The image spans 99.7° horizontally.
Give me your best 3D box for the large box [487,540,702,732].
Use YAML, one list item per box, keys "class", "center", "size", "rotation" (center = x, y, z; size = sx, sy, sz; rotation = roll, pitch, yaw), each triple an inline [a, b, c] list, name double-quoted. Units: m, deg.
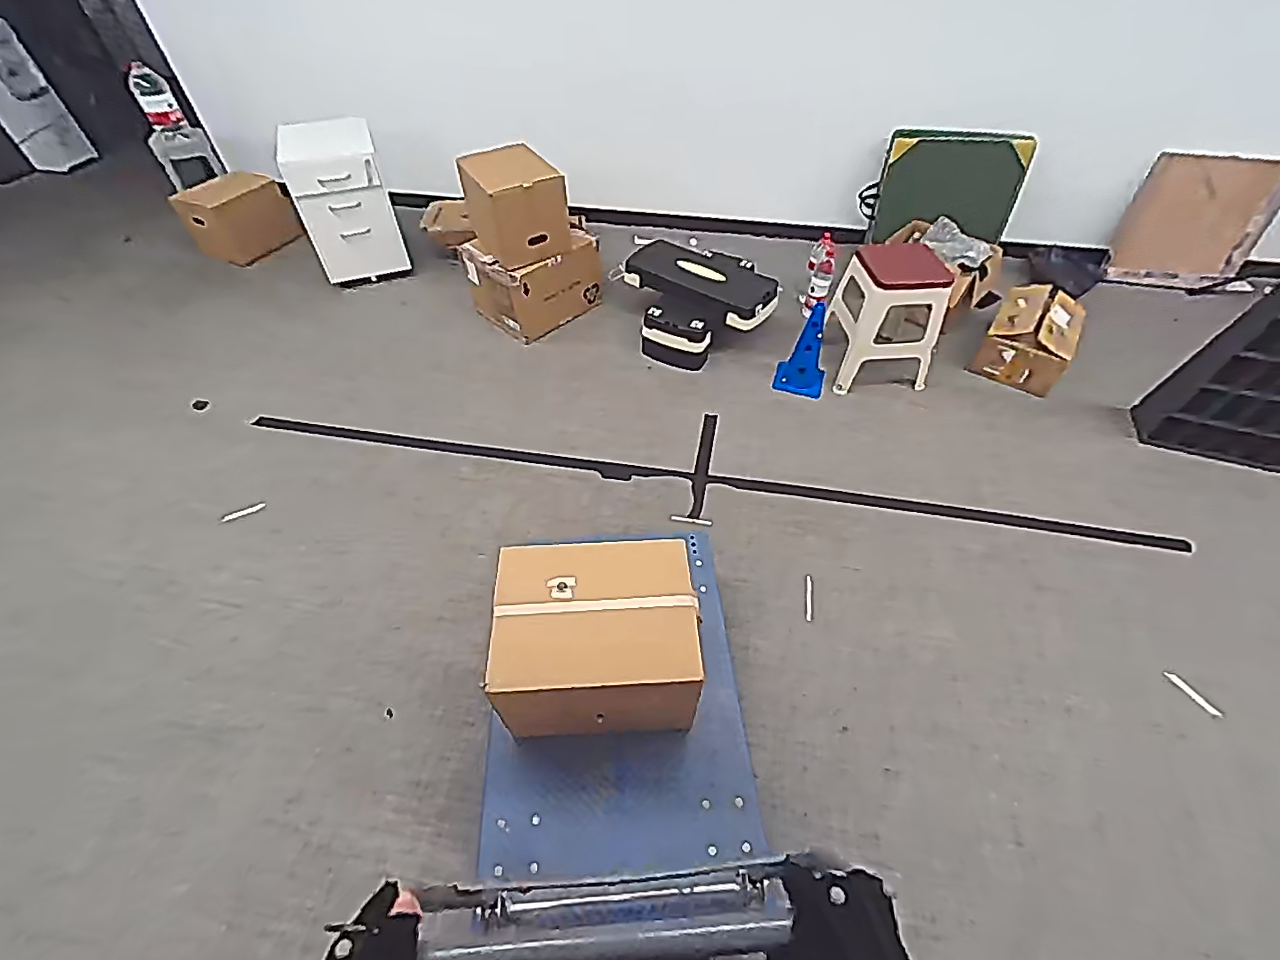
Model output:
- class: "large box"
  center: [-0.090, 0.353, 1.202]
  size: [0.408, 0.320, 0.320]
  rotation: [-2, 51, -2]
